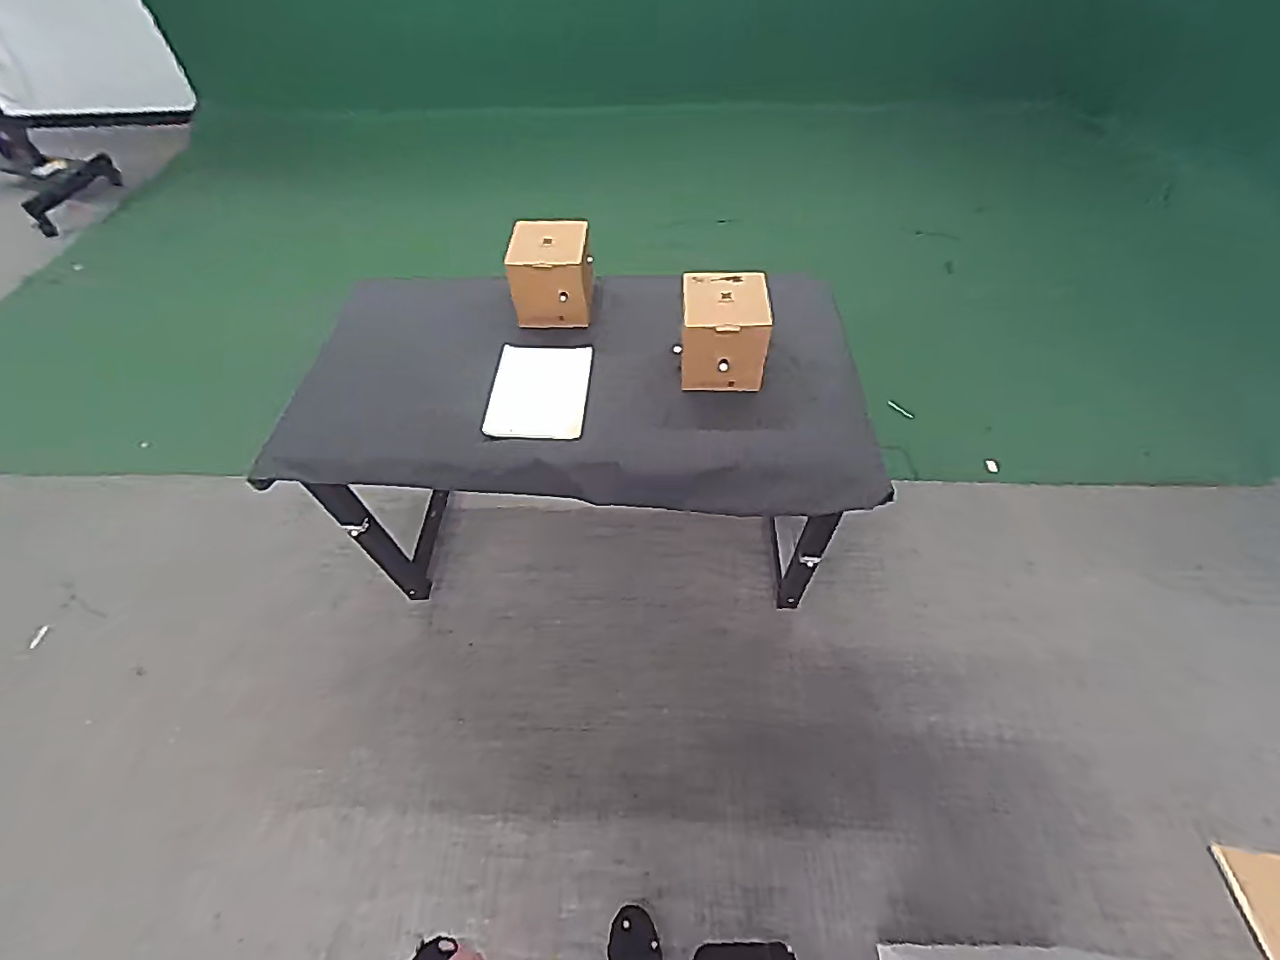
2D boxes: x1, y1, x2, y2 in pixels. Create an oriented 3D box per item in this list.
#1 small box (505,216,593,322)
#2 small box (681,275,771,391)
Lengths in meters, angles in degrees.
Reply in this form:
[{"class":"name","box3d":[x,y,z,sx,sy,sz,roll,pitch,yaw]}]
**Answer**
[{"class":"small box","box3d":[-0.200,-0.483,1.248,0.168,0.176,0.179,1,54,1]},{"class":"small box","box3d":[0.172,-0.302,1.123,0.168,0.176,0.179,1,55,3]}]
